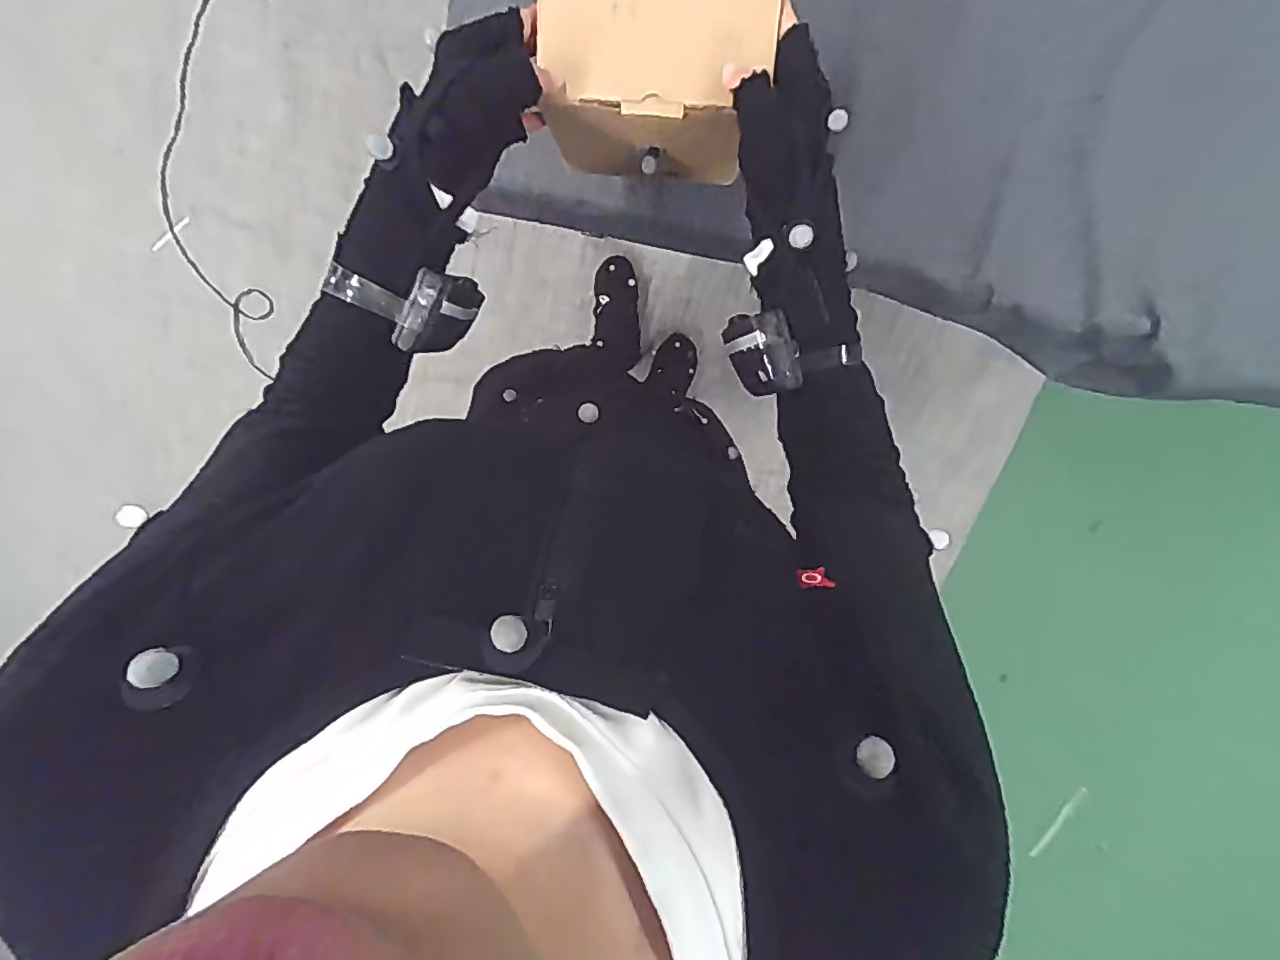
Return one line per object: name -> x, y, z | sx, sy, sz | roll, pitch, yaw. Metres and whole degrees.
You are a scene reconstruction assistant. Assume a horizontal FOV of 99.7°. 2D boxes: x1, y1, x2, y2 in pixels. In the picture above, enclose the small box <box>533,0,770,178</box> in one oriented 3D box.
small box -> 0.014, -0.366, 0.443 | 0.168, 0.176, 0.179 | 4, 104, 1
